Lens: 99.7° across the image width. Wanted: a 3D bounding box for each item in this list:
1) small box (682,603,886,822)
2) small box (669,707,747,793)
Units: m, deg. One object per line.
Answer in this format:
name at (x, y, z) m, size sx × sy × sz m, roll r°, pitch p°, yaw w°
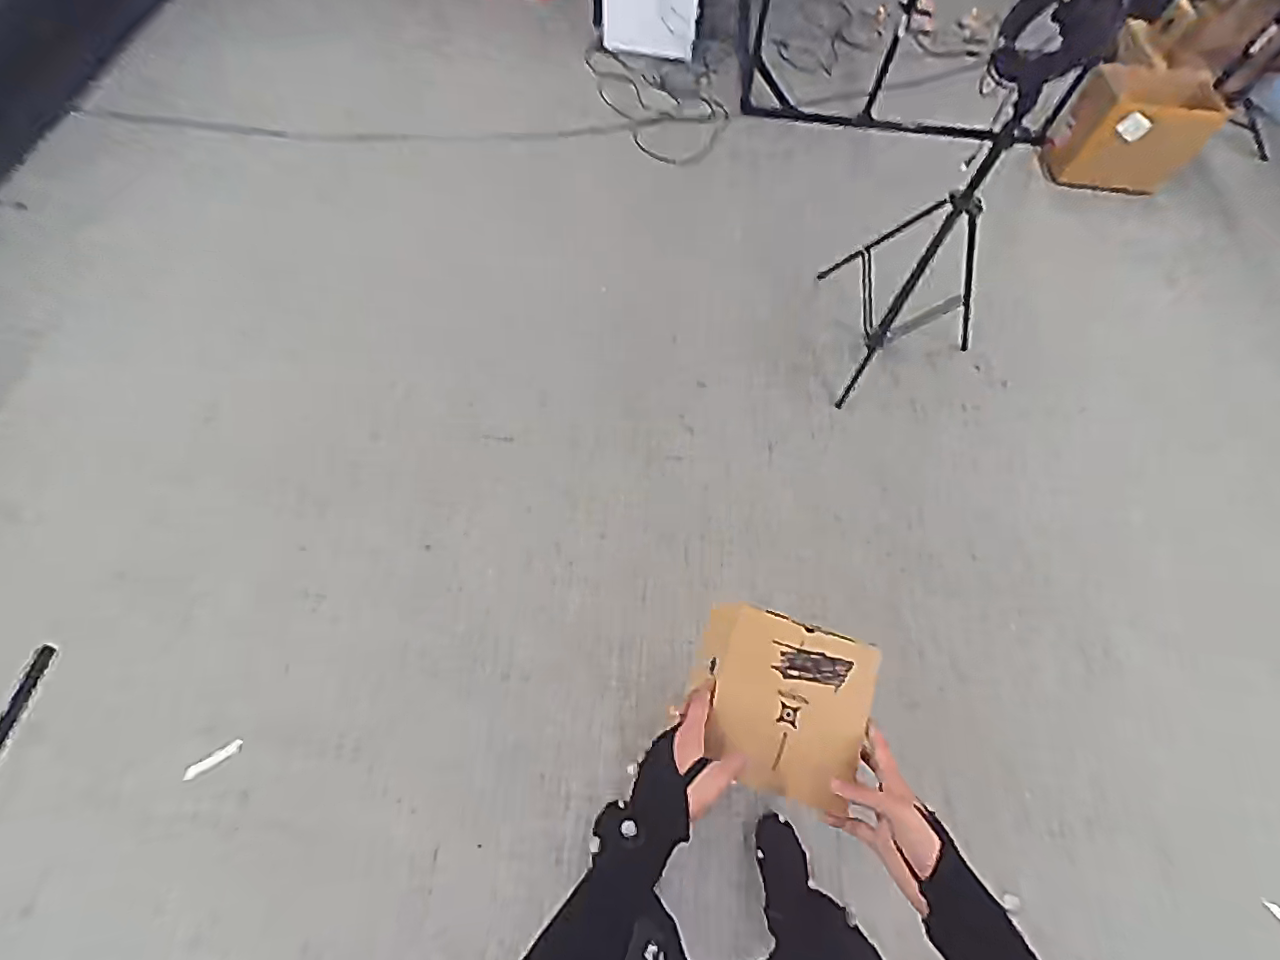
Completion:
small box at (0.156, 0.253, 0.634) m, size 0.168 × 0.176 × 0.179 m, roll 18°, pitch 76°, yaw 1°
small box at (0.164, 0.641, 1.296) m, size 0.168 × 0.176 × 0.179 m, roll -4°, pitch 64°, yaw -4°
